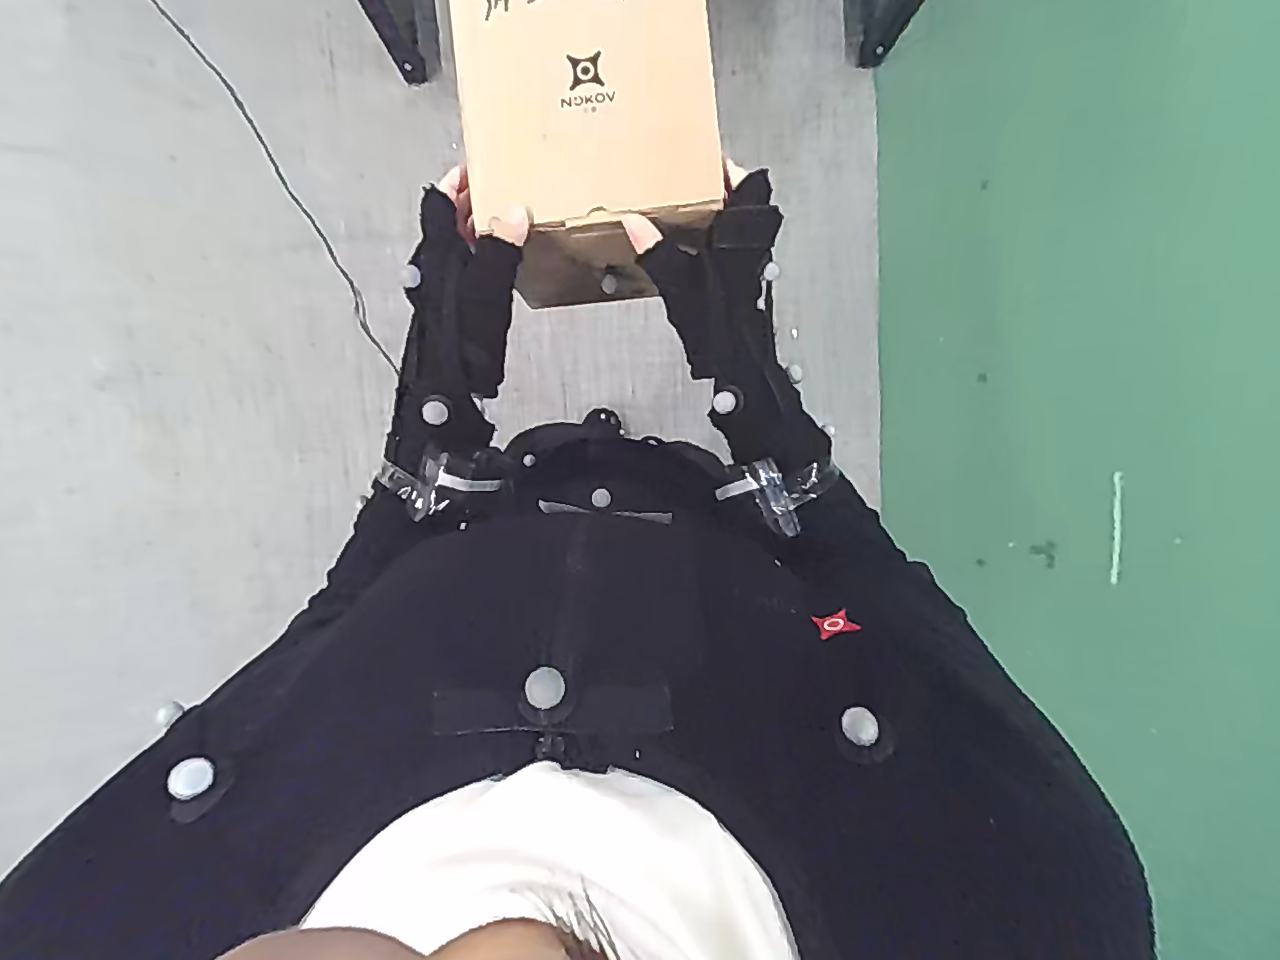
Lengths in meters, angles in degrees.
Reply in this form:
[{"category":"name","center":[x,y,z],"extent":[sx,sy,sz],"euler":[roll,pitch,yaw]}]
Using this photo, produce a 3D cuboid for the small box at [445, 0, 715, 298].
[{"category":"small box","center":[-0.035,-0.254,0.427],"extent":[0.168,0.176,0.179],"euler":[-6,92,2]}]
